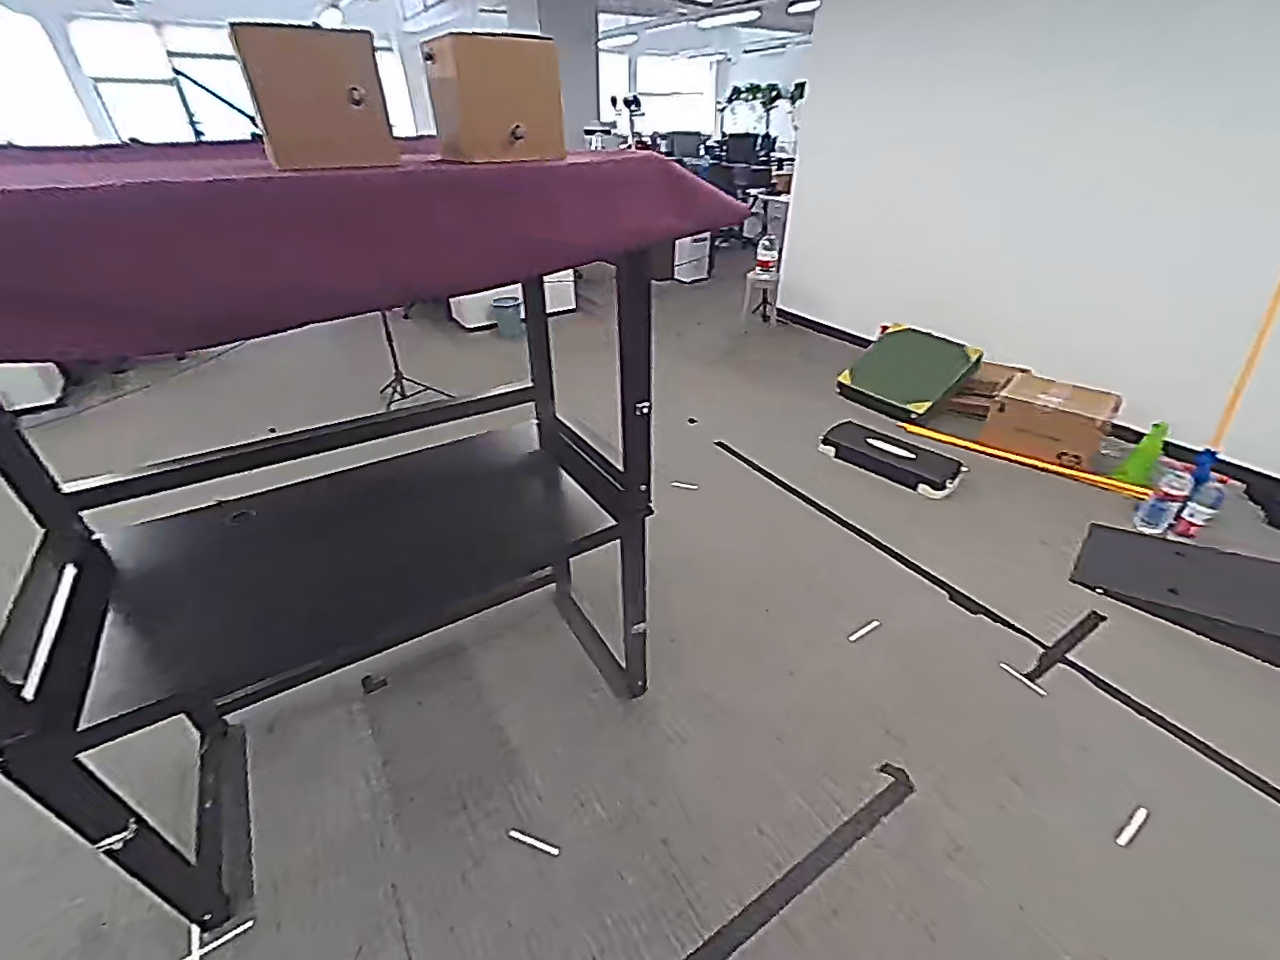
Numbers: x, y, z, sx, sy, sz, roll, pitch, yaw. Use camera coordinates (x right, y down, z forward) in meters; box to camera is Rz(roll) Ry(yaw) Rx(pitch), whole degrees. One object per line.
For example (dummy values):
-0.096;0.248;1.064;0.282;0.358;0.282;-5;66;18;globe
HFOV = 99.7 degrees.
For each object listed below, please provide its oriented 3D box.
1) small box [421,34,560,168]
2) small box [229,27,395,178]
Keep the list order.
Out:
-0.245;-0.632;0.914;0.179;0.176;0.168;-21;38;-28;small box
-0.488;-0.565;0.822;0.179;0.176;0.168;-20;37;-26;small box
